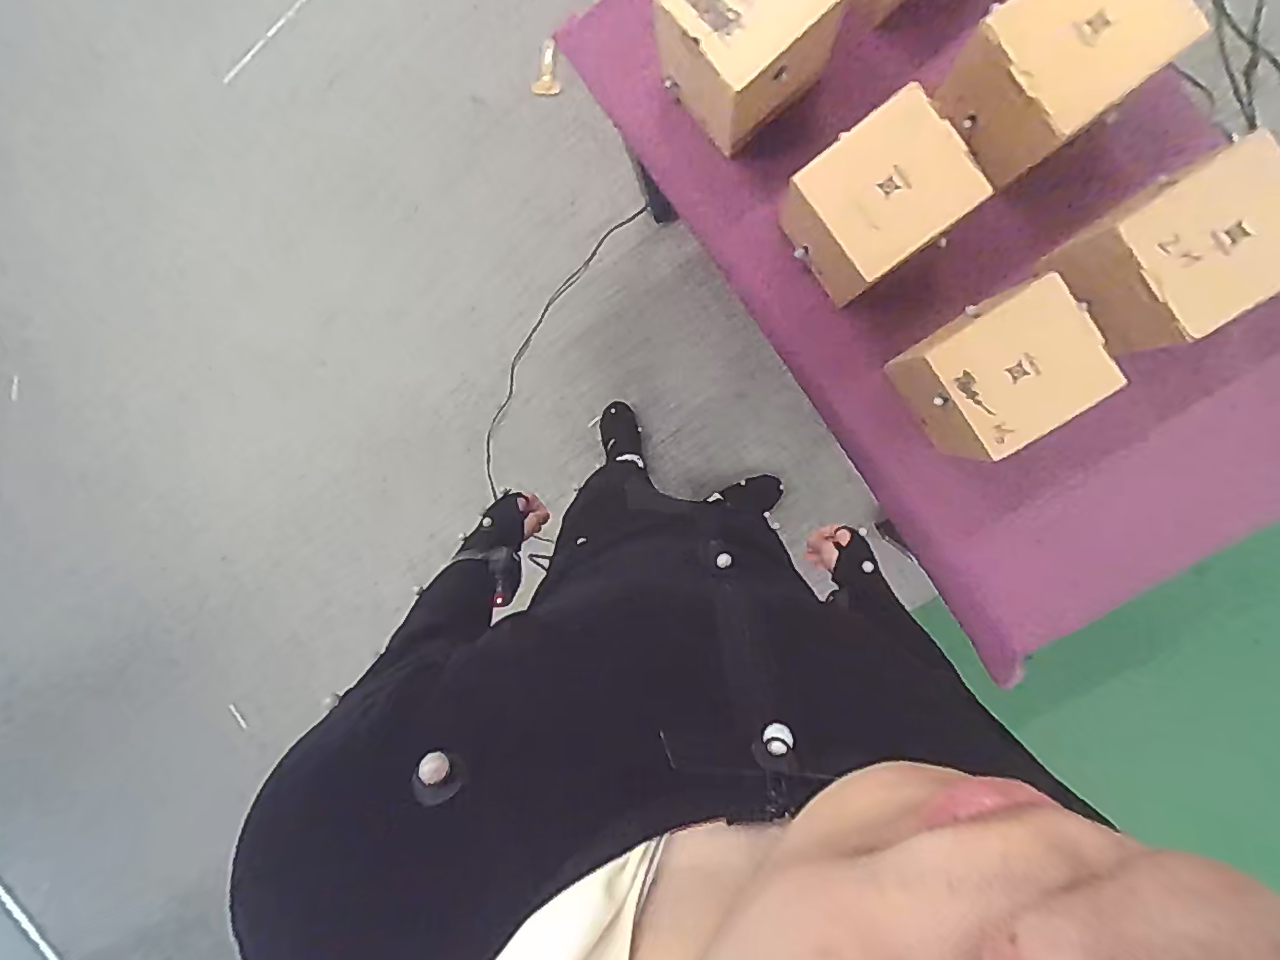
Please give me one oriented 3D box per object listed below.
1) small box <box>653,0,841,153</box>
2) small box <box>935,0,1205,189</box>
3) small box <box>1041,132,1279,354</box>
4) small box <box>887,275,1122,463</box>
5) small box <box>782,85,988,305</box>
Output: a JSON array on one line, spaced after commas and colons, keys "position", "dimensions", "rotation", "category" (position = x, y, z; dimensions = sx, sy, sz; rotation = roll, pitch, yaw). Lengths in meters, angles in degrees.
[{"position": [0.141, -0.596, 0.732], "dimensions": [0.179, 0.176, 0.168], "rotation": [-38, 90, 9], "category": "small box"}, {"position": [0.521, -0.518, 0.687], "dimensions": [0.179, 0.176, 0.168], "rotation": [-36, 91, 13], "category": "small box"}, {"position": [0.675, -0.282, 0.690], "dimensions": [0.179, 0.176, 0.168], "rotation": [-34, 90, 12], "category": "small box"}, {"position": [0.475, -0.143, 0.738], "dimensions": [0.179, 0.176, 0.168], "rotation": [-33, 90, 11], "category": "small box"}, {"position": [0.314, -0.368, 0.737], "dimensions": [0.179, 0.176, 0.168], "rotation": [-35, 90, 12], "category": "small box"}]
